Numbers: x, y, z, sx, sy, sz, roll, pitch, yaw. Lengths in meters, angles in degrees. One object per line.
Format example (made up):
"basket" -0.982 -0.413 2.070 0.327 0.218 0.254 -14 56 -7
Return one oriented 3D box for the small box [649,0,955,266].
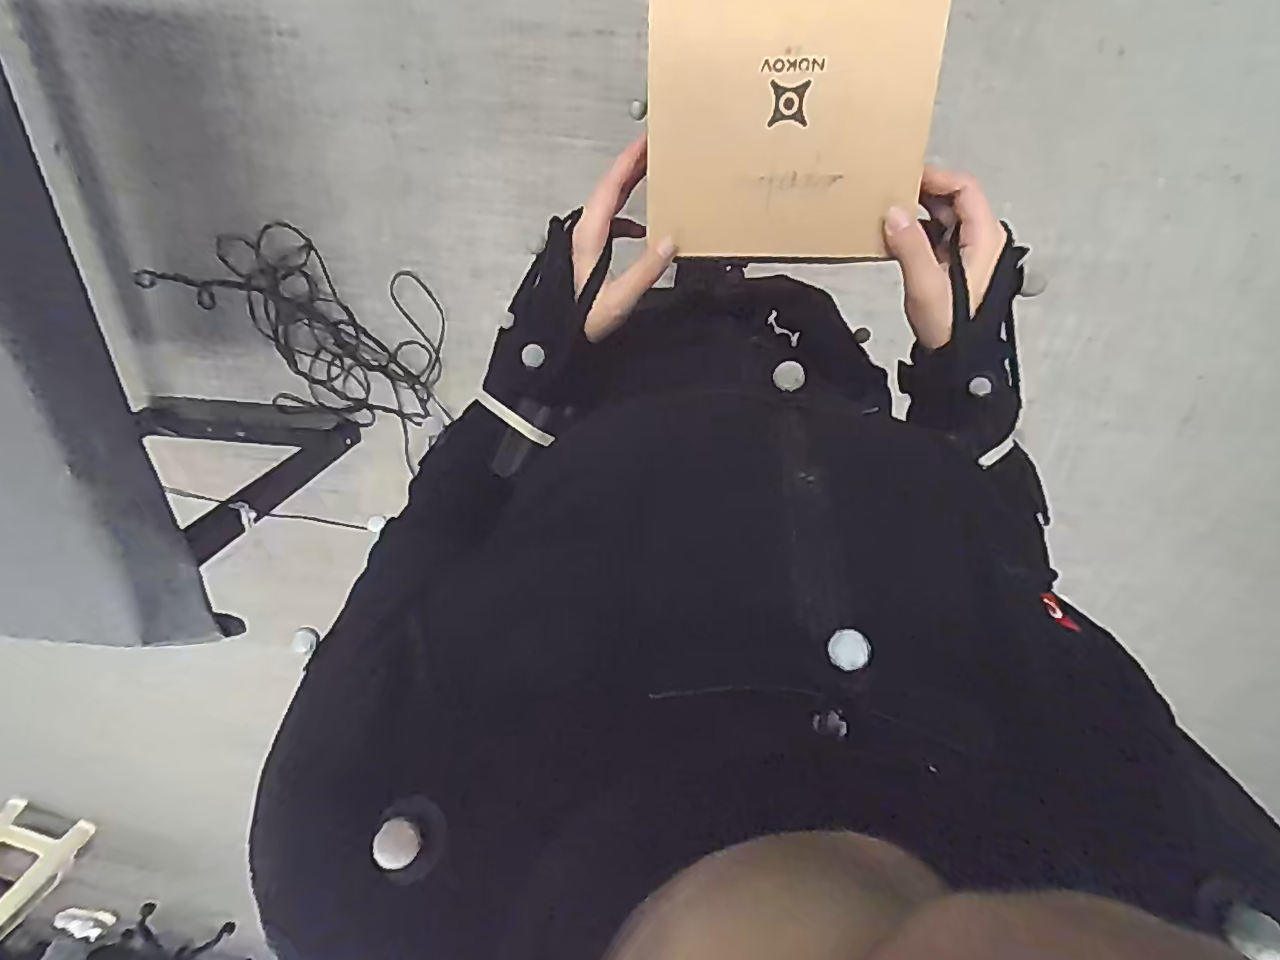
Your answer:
"small box" 0.093 -0.251 0.387 0.168 0.176 0.179 2 111 3
